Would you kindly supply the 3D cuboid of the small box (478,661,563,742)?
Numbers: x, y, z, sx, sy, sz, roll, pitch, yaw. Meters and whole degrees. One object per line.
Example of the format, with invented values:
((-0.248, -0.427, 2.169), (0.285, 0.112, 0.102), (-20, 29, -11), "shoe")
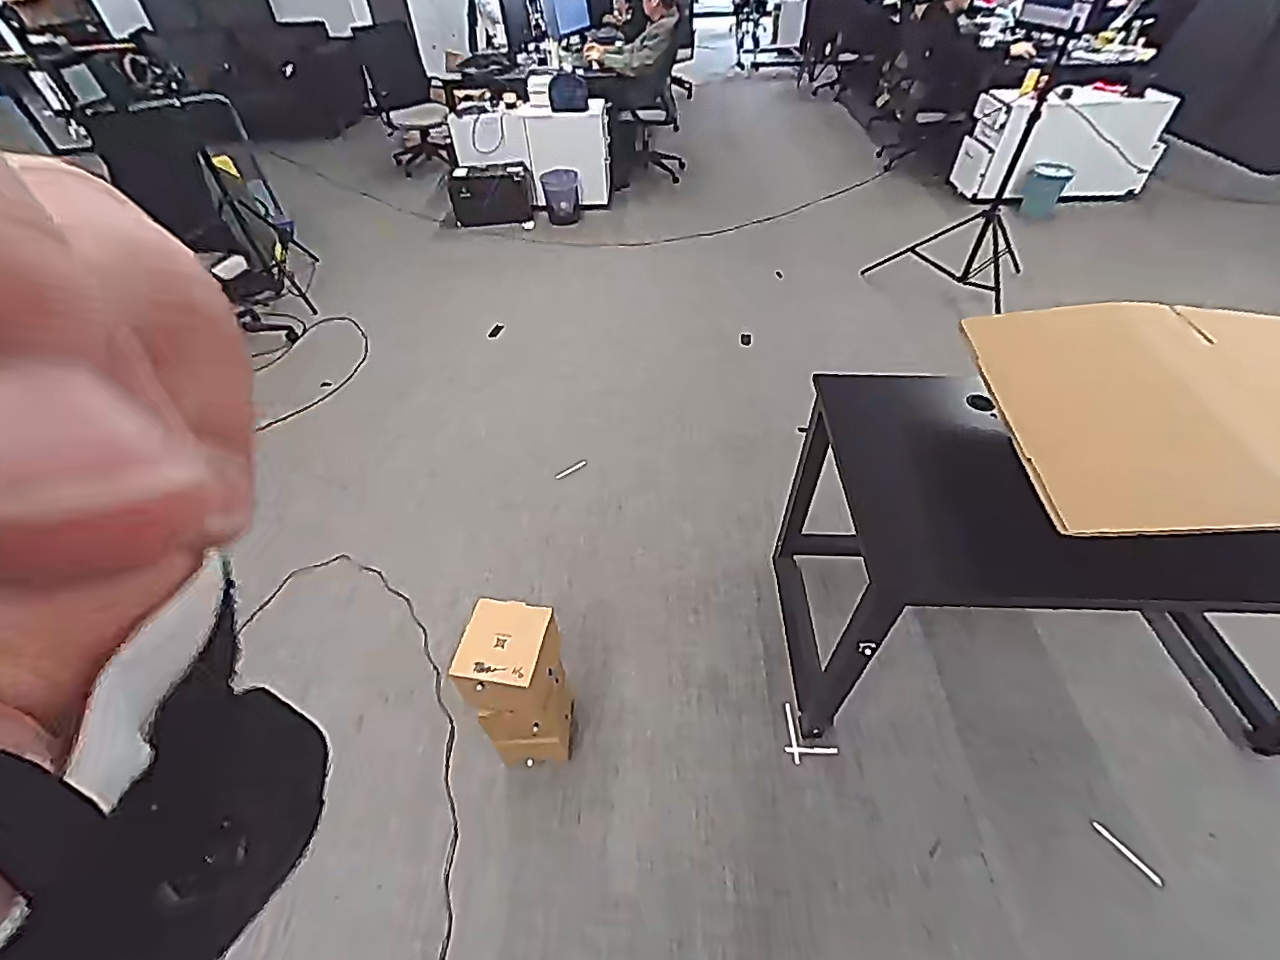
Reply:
((-0.275, 0.503, 1.280), (0.168, 0.176, 0.179), (-4, 45, -3), "small box")

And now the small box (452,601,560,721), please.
((-0.276, 0.388, 1.162), (0.168, 0.176, 0.179), (6, 45, 7), "small box")

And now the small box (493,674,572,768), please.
((-0.268, 0.620, 1.392), (0.168, 0.176, 0.179), (-2, 47, 0), "small box")
